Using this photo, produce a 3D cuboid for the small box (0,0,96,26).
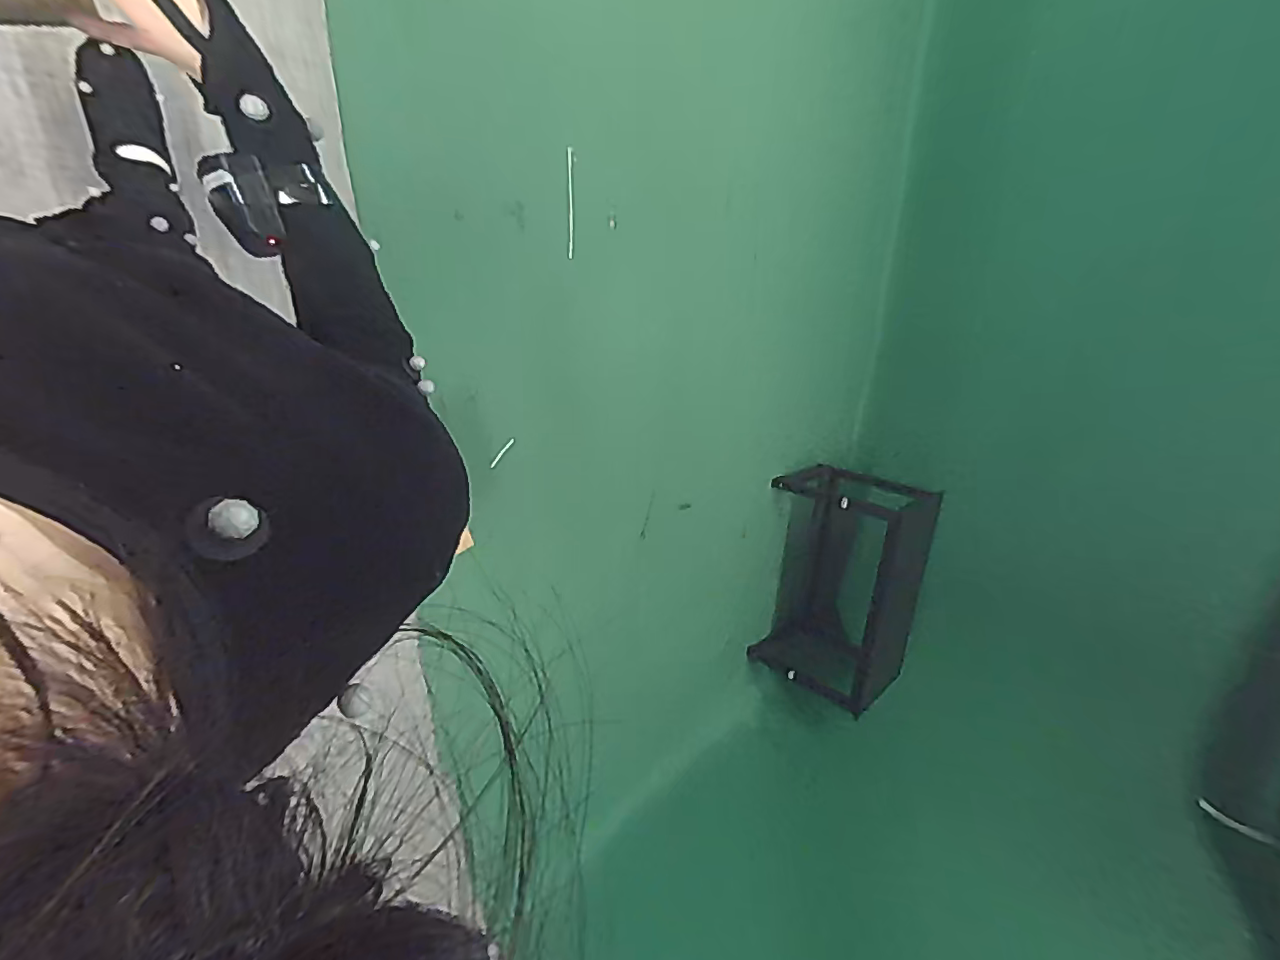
[{"bbox_3d":[-0.460,-0.383,0.301,0.168,0.176,0.179,-22,129,-28],"label":"small box"}]
